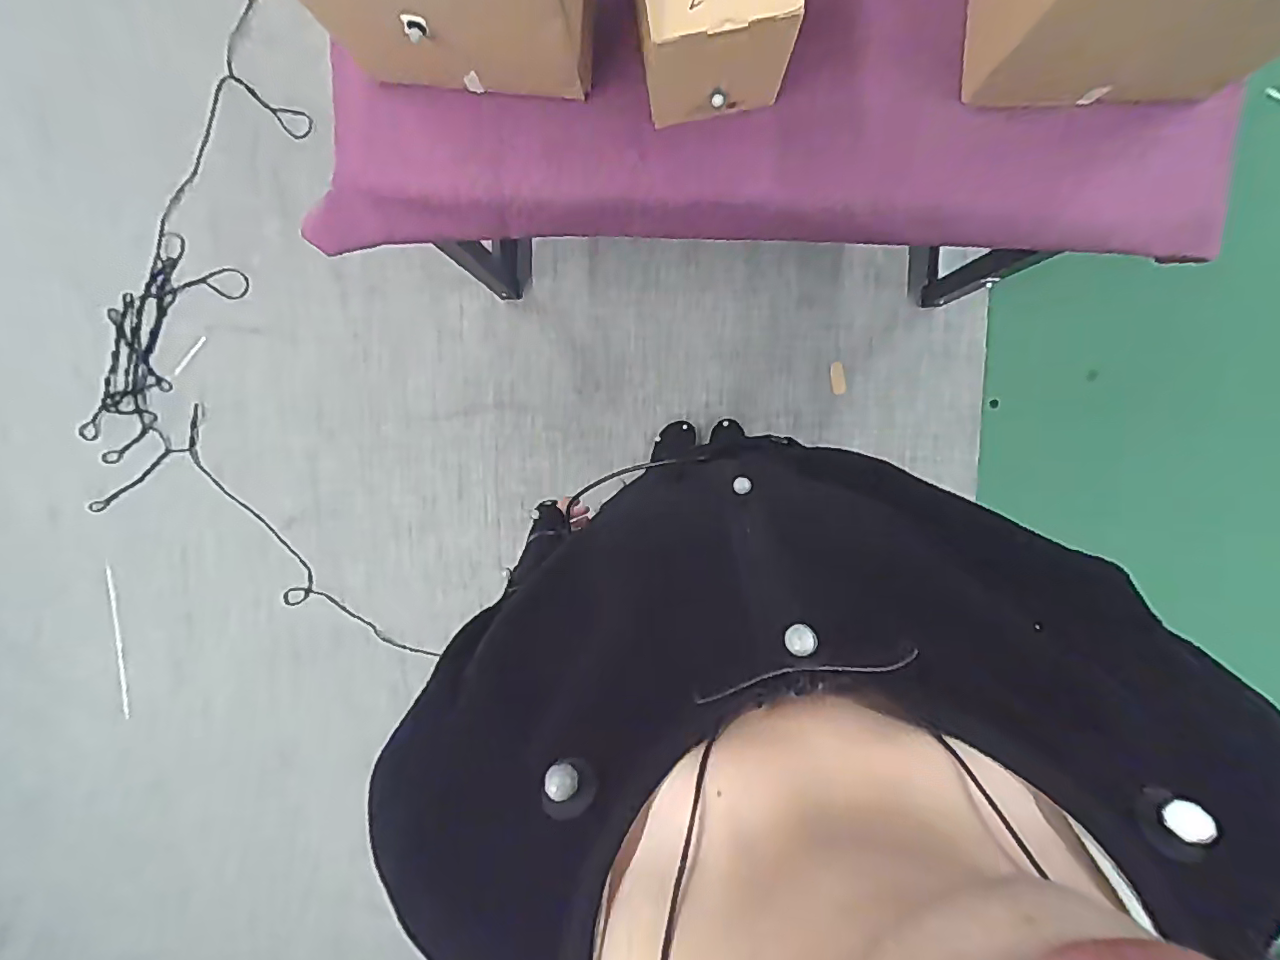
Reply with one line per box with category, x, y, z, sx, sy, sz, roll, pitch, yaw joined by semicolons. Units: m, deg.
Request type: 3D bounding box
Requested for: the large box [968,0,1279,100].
large box;0.573;-0.684;0.542;0.320;0.320;0.408;1;96;5
